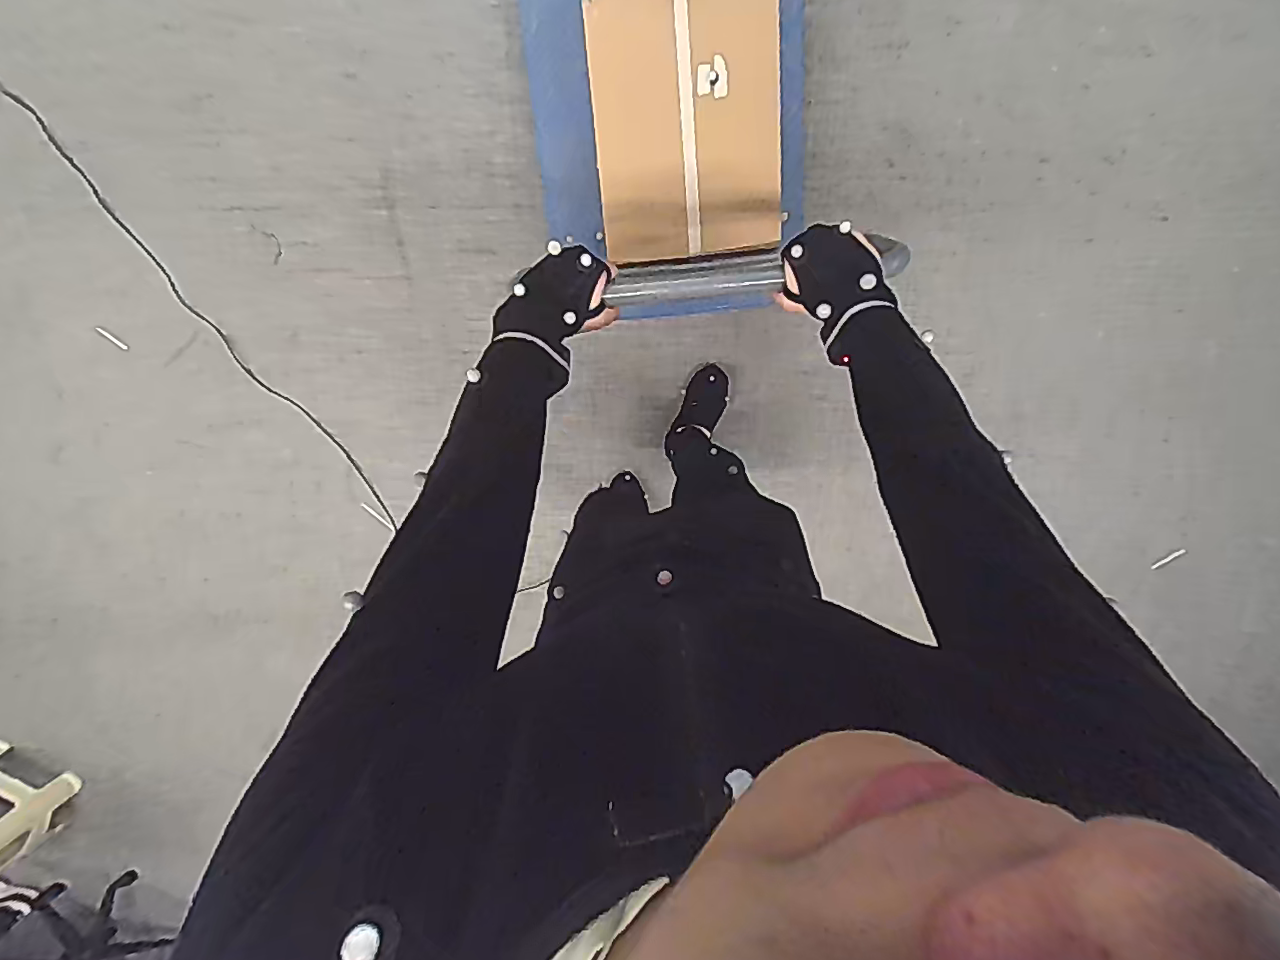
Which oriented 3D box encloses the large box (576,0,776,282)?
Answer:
[{"bbox_3d":[0.075,-0.628,1.066,0.320,0.320,0.408,-5,106,3],"label":"large box"}]
